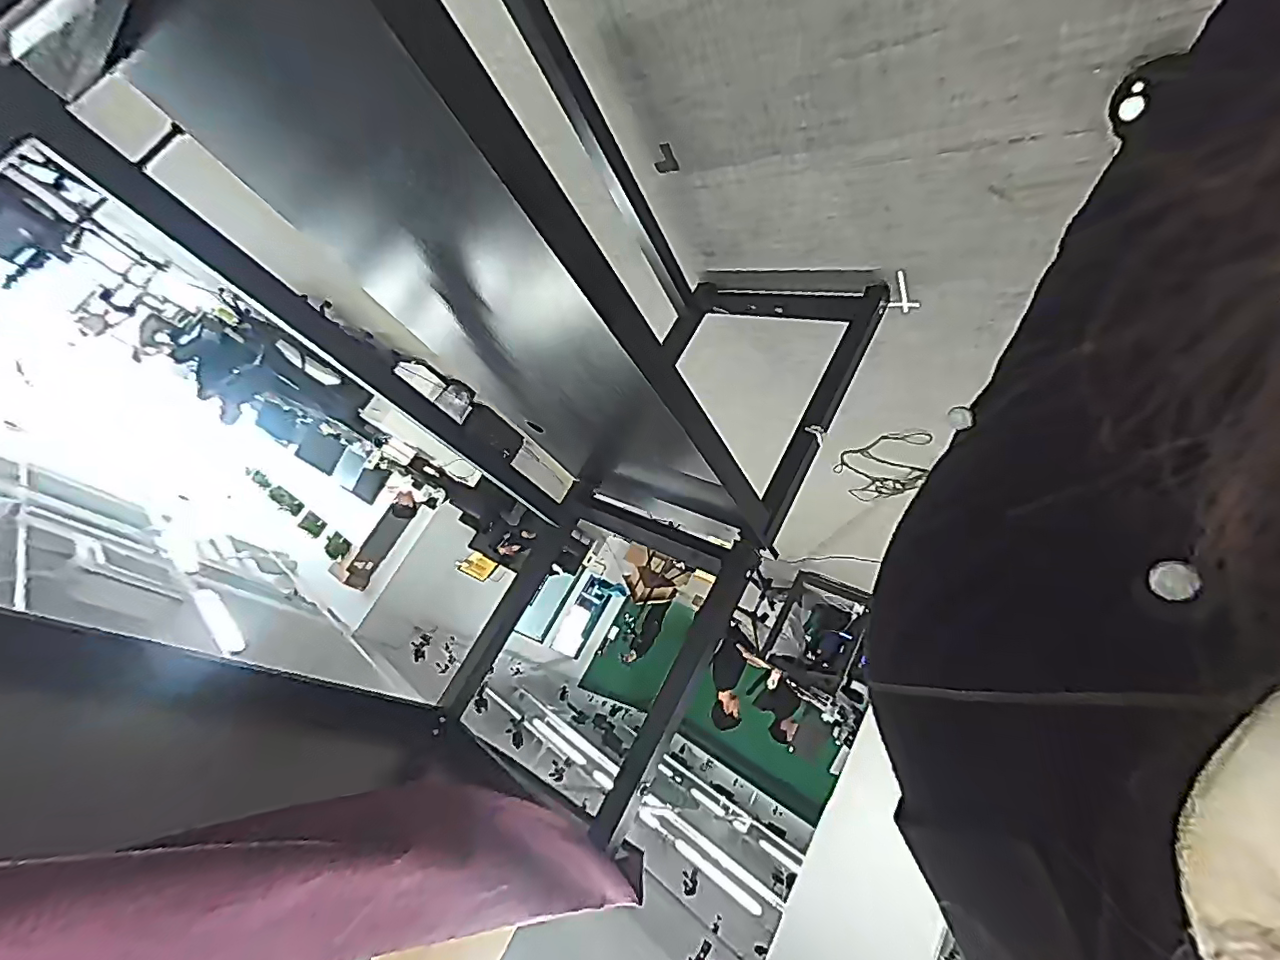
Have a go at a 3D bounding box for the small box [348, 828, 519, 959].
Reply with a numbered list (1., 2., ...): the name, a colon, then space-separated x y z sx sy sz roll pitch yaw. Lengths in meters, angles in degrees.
1. small box: -0.329 0.696 0.877 0.179 0.176 0.168 16 160 46
